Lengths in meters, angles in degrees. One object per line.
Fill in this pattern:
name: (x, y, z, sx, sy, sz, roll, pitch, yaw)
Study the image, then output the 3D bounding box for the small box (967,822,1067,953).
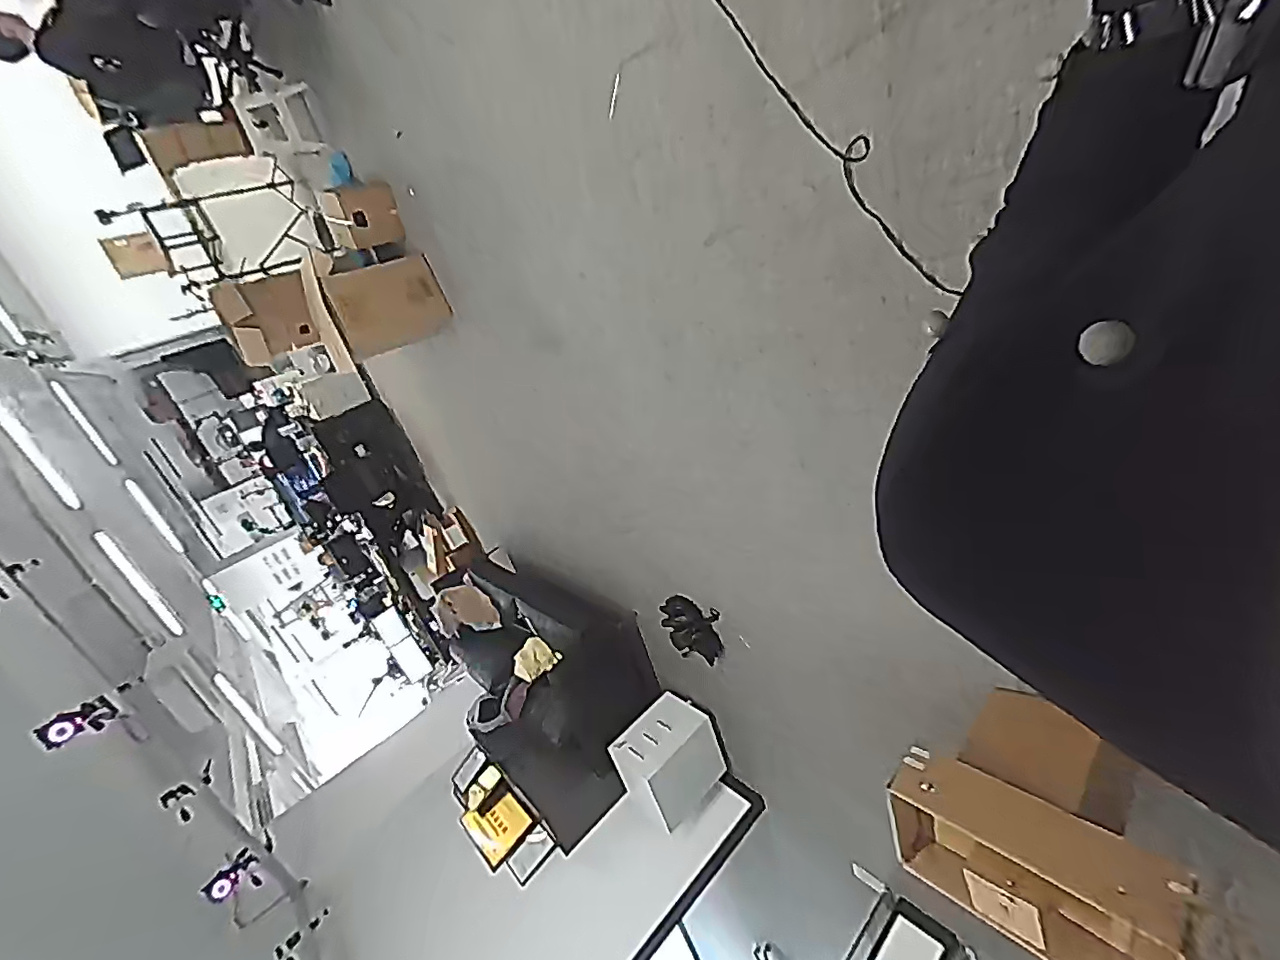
small box: (0.988, 1.053, 1.412, 0.168, 0.176, 0.179, 1, 121, 52)
